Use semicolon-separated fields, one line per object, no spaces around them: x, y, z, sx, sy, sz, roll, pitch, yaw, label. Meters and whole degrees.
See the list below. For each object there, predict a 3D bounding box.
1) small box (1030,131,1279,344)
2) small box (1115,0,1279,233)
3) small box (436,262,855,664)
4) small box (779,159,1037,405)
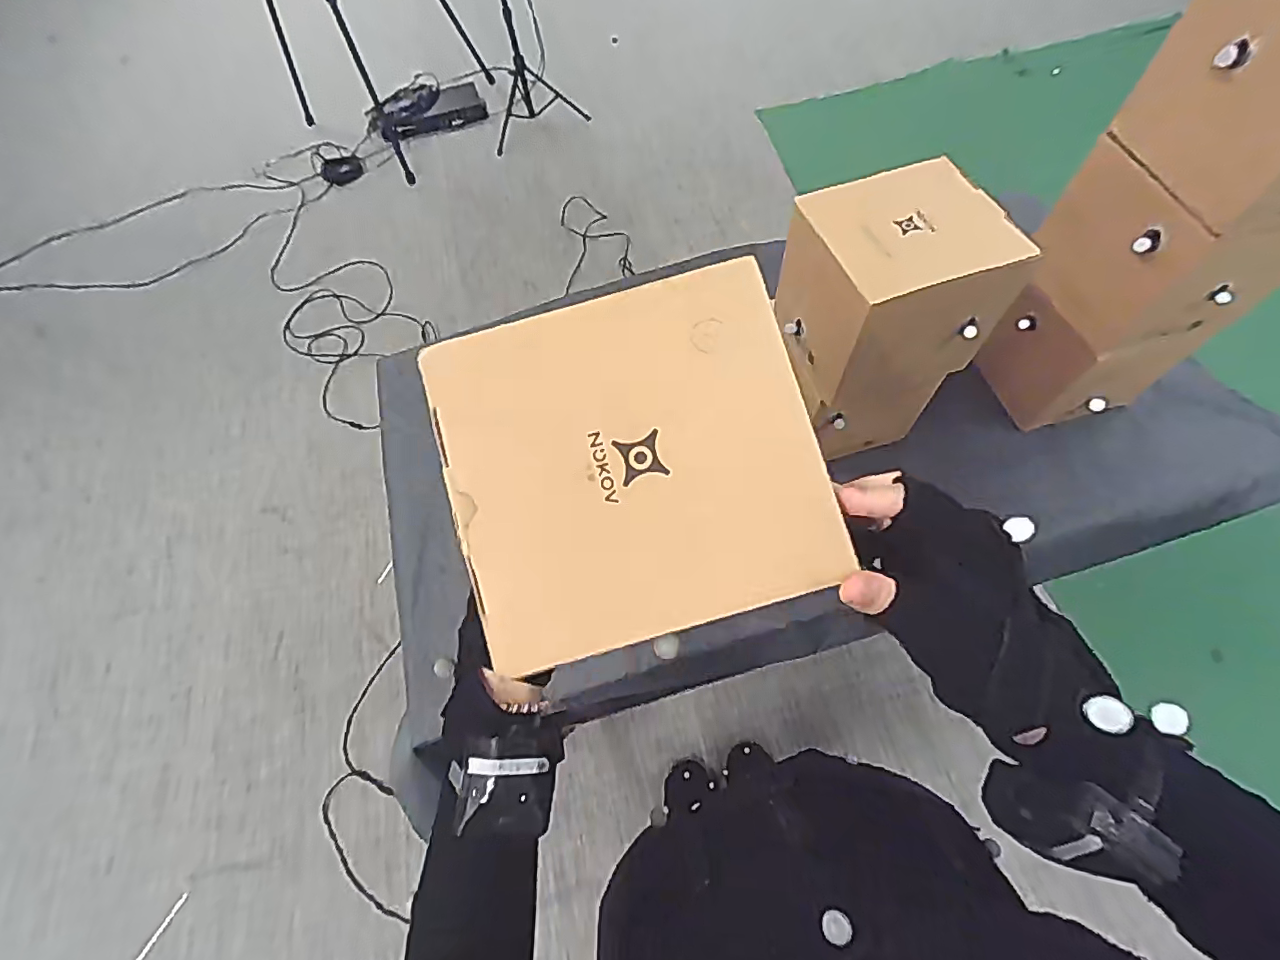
0.588;-0.272;0.604;0.168;0.176;0.179;-13;62;-2;small box
0.573;-0.345;0.458;0.168;0.176;0.179;-12;62;0;small box
0.002;-0.001;0.342;0.179;0.176;0.168;-15;81;1;small box
0.273;-0.212;0.604;0.179;0.176;0.168;-17;62;-4;small box
